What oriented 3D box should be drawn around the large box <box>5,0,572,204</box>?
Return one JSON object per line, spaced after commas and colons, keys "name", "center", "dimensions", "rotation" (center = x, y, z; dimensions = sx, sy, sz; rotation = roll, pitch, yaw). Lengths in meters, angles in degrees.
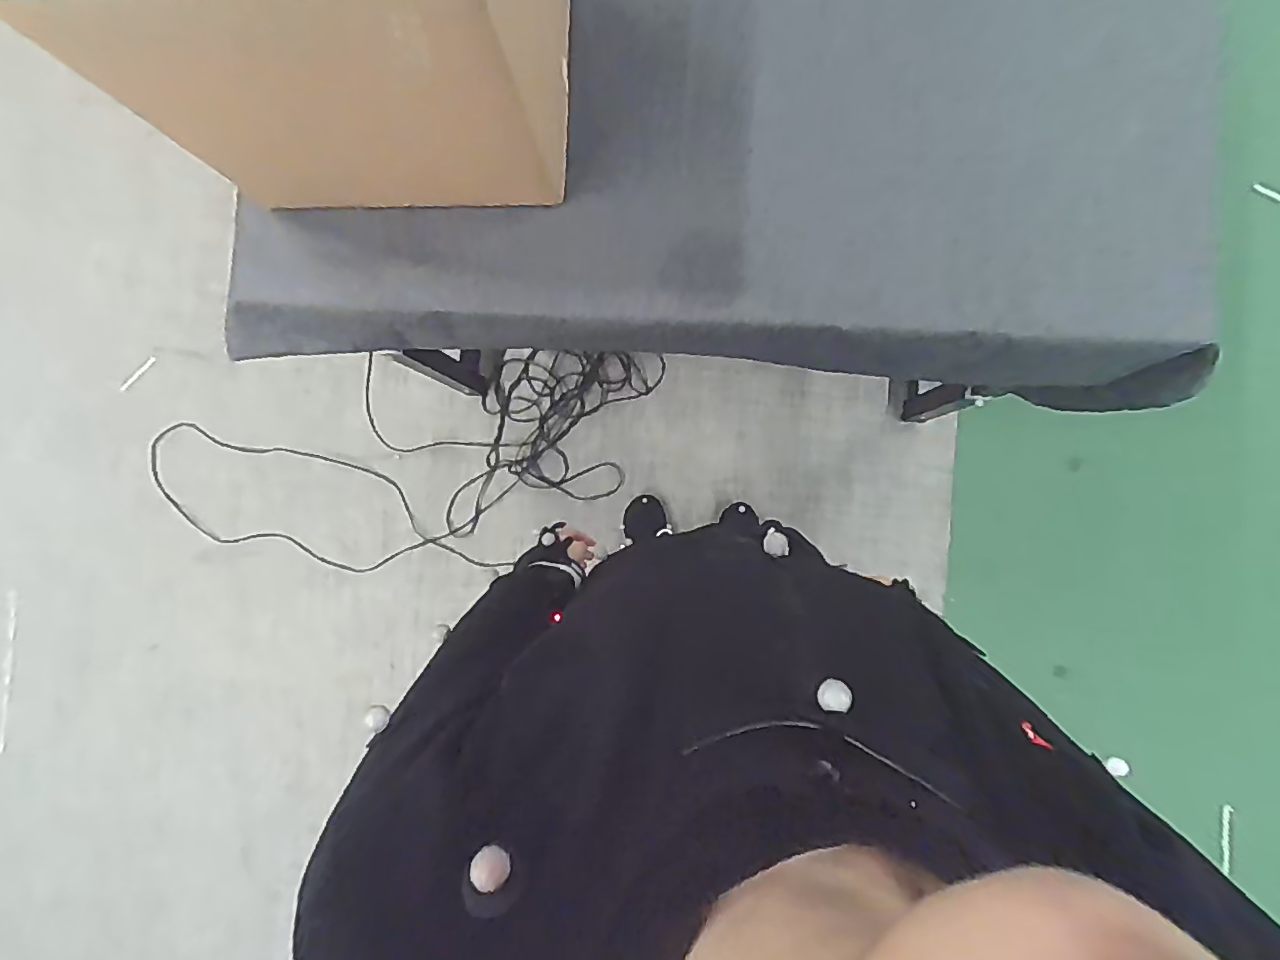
{"name": "large box", "center": [-0.295, -0.516, 0.553], "dimensions": [0.408, 0.320, 0.320], "rotation": [1, 88, 3]}
